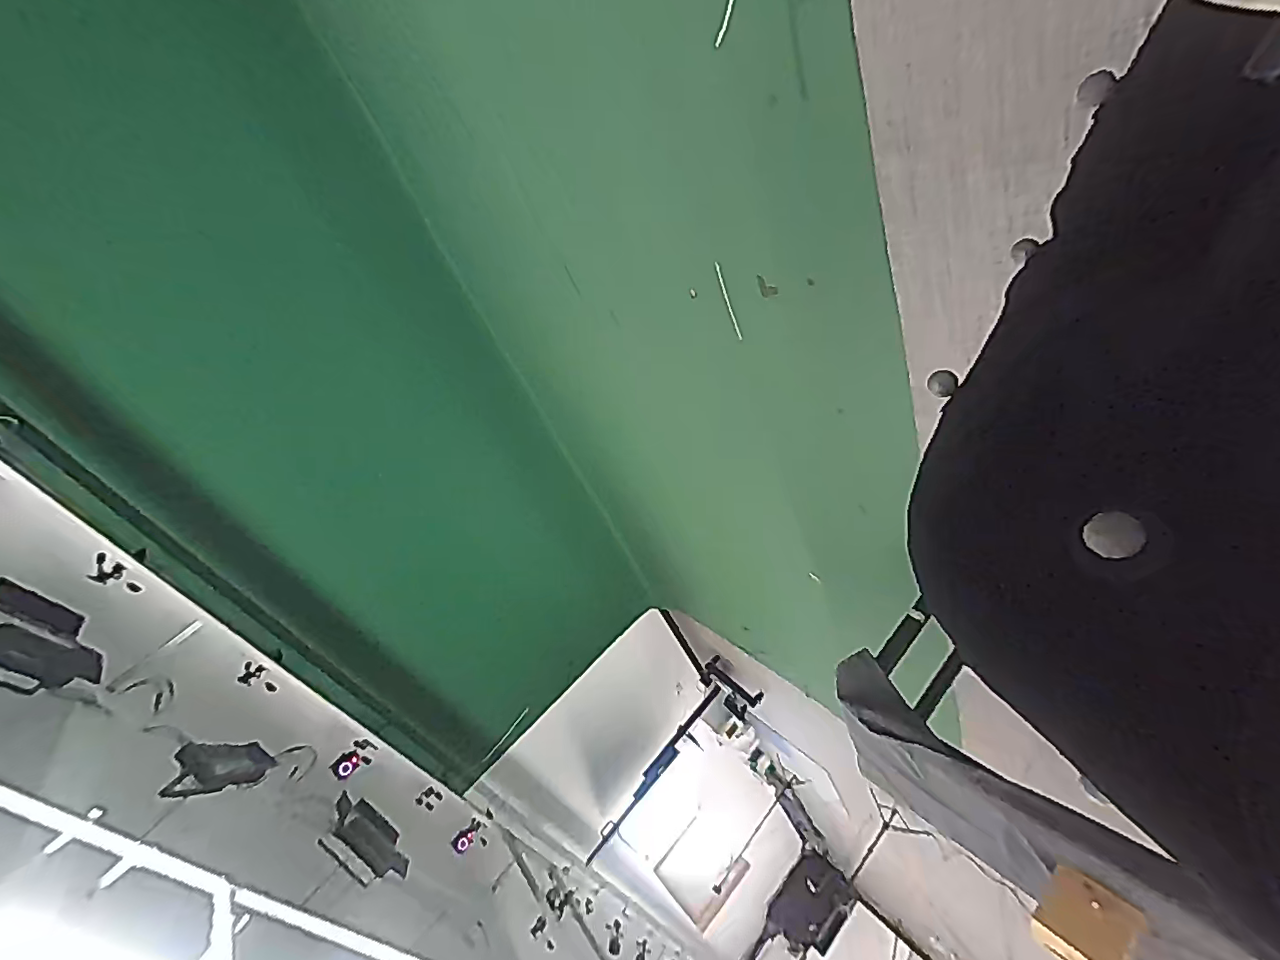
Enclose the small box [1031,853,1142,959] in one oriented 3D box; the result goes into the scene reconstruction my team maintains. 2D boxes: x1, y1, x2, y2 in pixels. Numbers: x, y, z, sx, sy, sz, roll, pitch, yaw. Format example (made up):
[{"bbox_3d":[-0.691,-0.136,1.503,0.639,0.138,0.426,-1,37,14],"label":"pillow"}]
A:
[{"bbox_3d":[1.087,1.067,1.321,0.168,0.176,0.179,22,147,50],"label":"small box"}]
